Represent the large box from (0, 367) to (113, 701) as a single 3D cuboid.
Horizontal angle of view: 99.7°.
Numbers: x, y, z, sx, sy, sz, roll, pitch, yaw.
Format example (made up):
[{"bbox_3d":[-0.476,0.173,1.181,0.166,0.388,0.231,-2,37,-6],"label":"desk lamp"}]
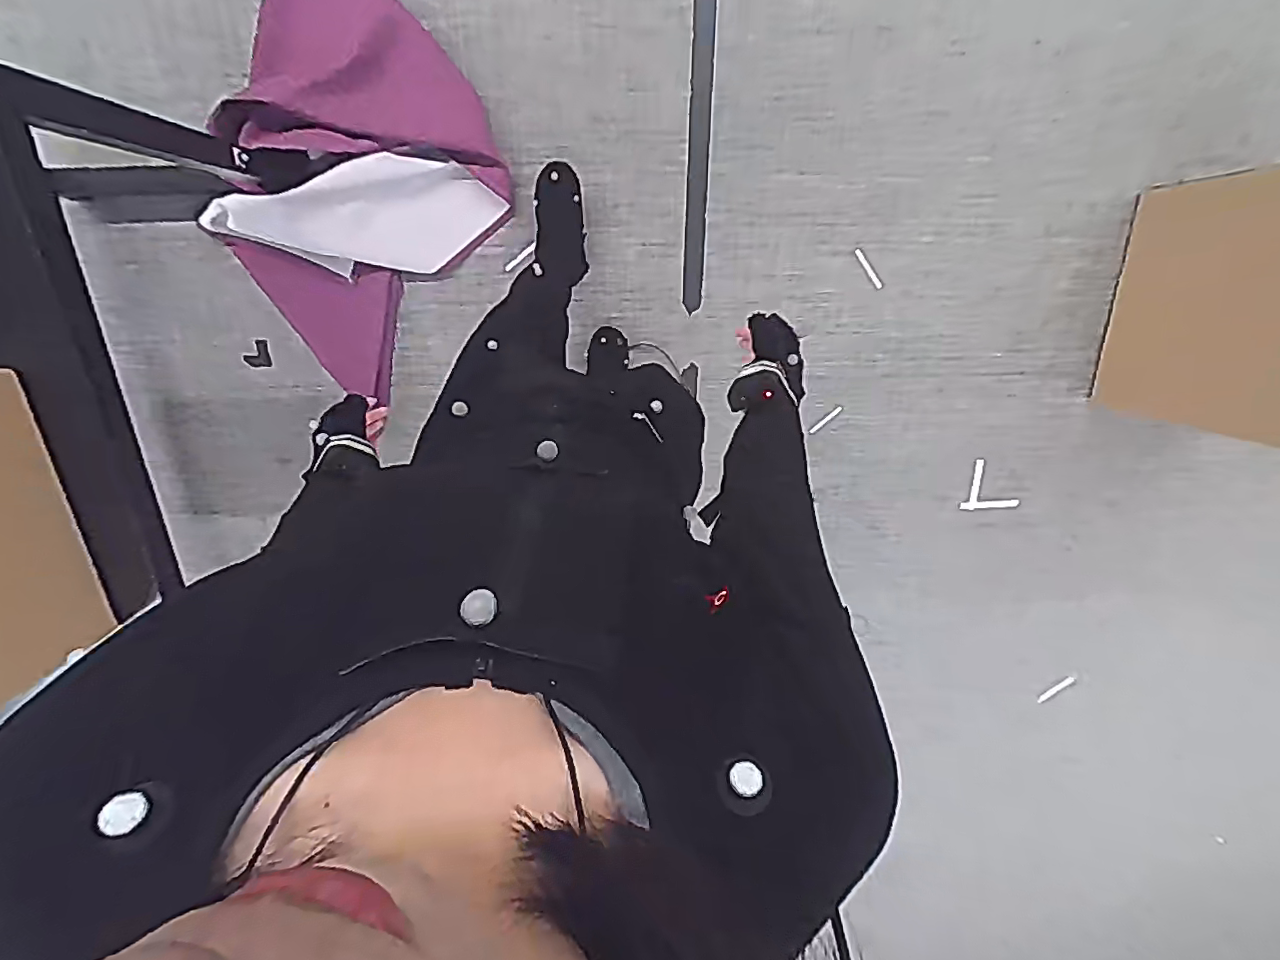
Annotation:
[{"bbox_3d":[-0.949,0.094,0.617,0.320,0.320,0.408,-2,109,-2],"label":"large box"}]
